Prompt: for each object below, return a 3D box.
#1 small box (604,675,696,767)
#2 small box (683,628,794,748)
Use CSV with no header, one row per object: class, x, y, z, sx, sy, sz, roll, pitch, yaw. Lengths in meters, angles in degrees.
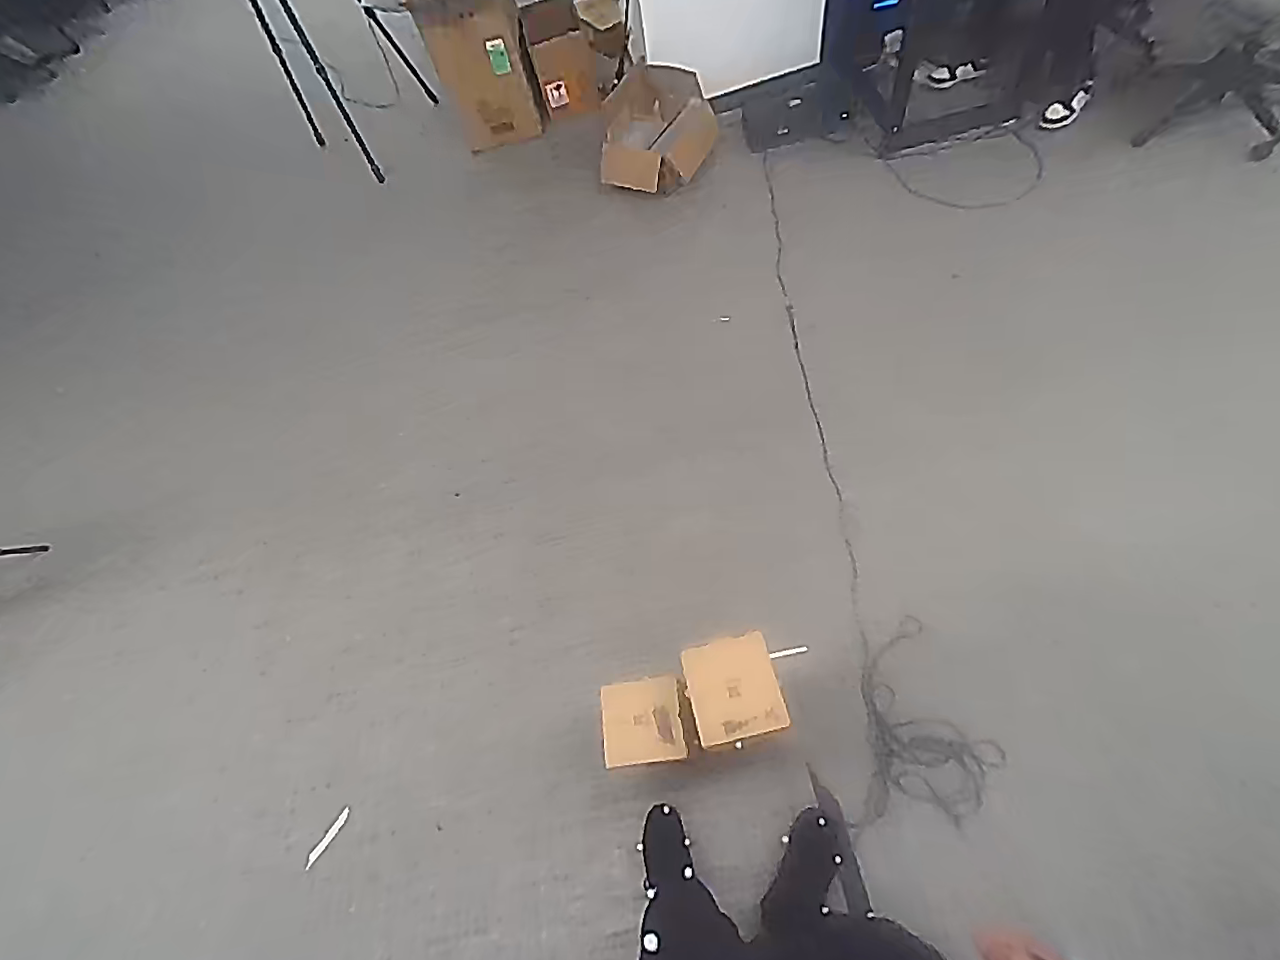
small box,0.028,0.545,1.220,0.179,0.176,0.168,-12,61,8
small box,0.191,0.413,1.062,0.168,0.176,0.179,-16,60,4
